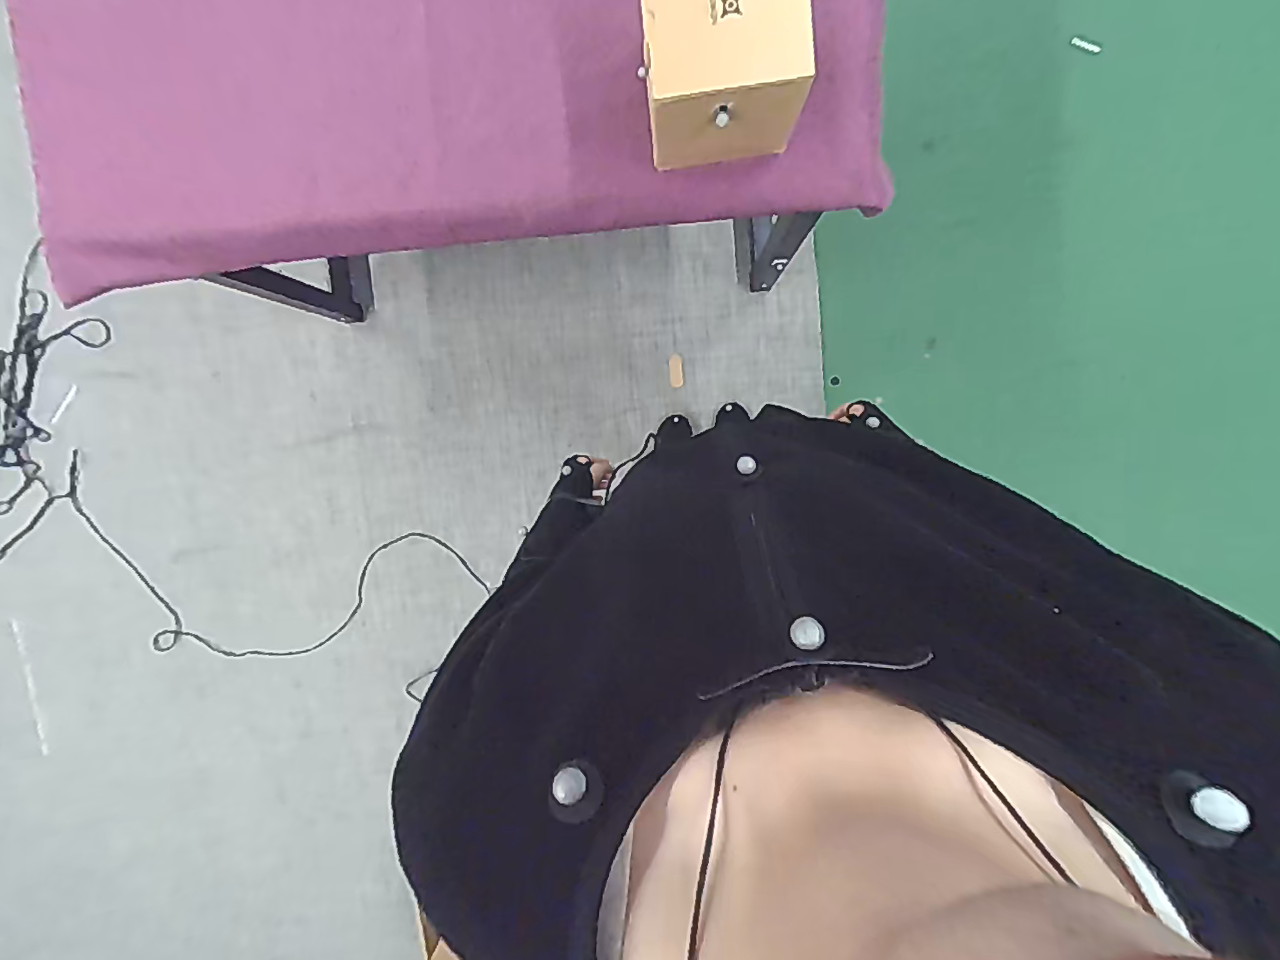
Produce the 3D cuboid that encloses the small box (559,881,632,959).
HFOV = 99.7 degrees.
[{"bbox_3d":[-0.124,1.277,1.531,0.179,0.176,0.168,-10,93,8],"label":"small box"}]

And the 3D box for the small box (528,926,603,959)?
[{"bbox_3d":[-0.192,1.279,1.374,0.168,0.176,0.179,-12,93,8],"label":"small box"}]

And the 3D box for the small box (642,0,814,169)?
[{"bbox_3d":[0.099,-0.505,0.651,0.179,0.176,0.168,-6,96,7],"label":"small box"}]
